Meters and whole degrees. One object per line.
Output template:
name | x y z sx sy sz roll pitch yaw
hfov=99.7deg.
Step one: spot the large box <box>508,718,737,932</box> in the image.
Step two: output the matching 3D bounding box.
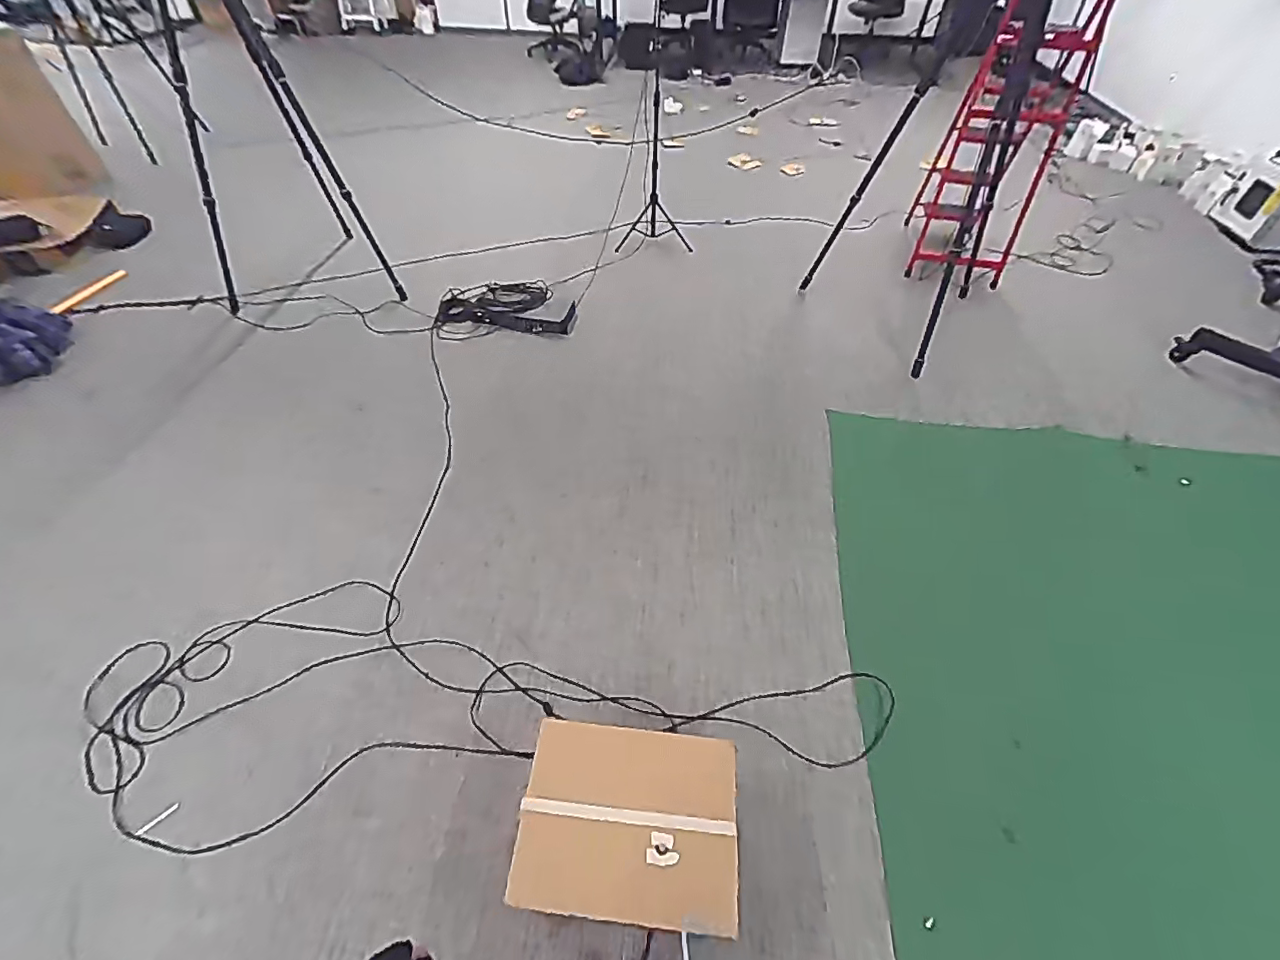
large box | -0.022 0.723 1.132 0.408 0.320 0.320 5 50 4
